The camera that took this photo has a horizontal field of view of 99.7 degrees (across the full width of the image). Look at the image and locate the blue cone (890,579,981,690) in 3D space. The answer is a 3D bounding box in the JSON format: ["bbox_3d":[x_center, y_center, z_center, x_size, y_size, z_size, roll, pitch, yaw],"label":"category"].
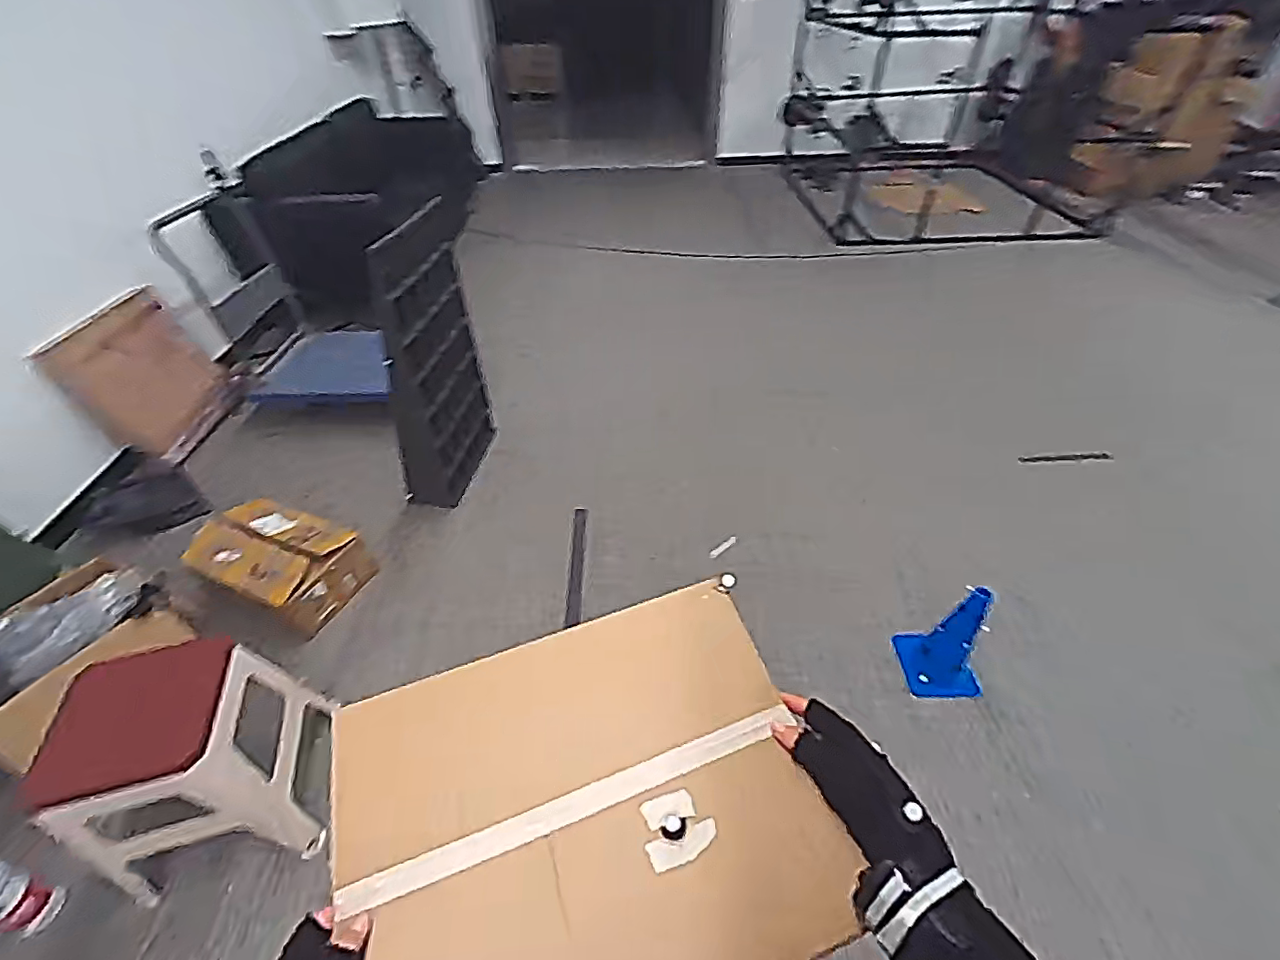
[{"bbox_3d":[0.856,0.411,1.493,0.193,0.380,0.192,0,42,2],"label":"blue cone"}]
